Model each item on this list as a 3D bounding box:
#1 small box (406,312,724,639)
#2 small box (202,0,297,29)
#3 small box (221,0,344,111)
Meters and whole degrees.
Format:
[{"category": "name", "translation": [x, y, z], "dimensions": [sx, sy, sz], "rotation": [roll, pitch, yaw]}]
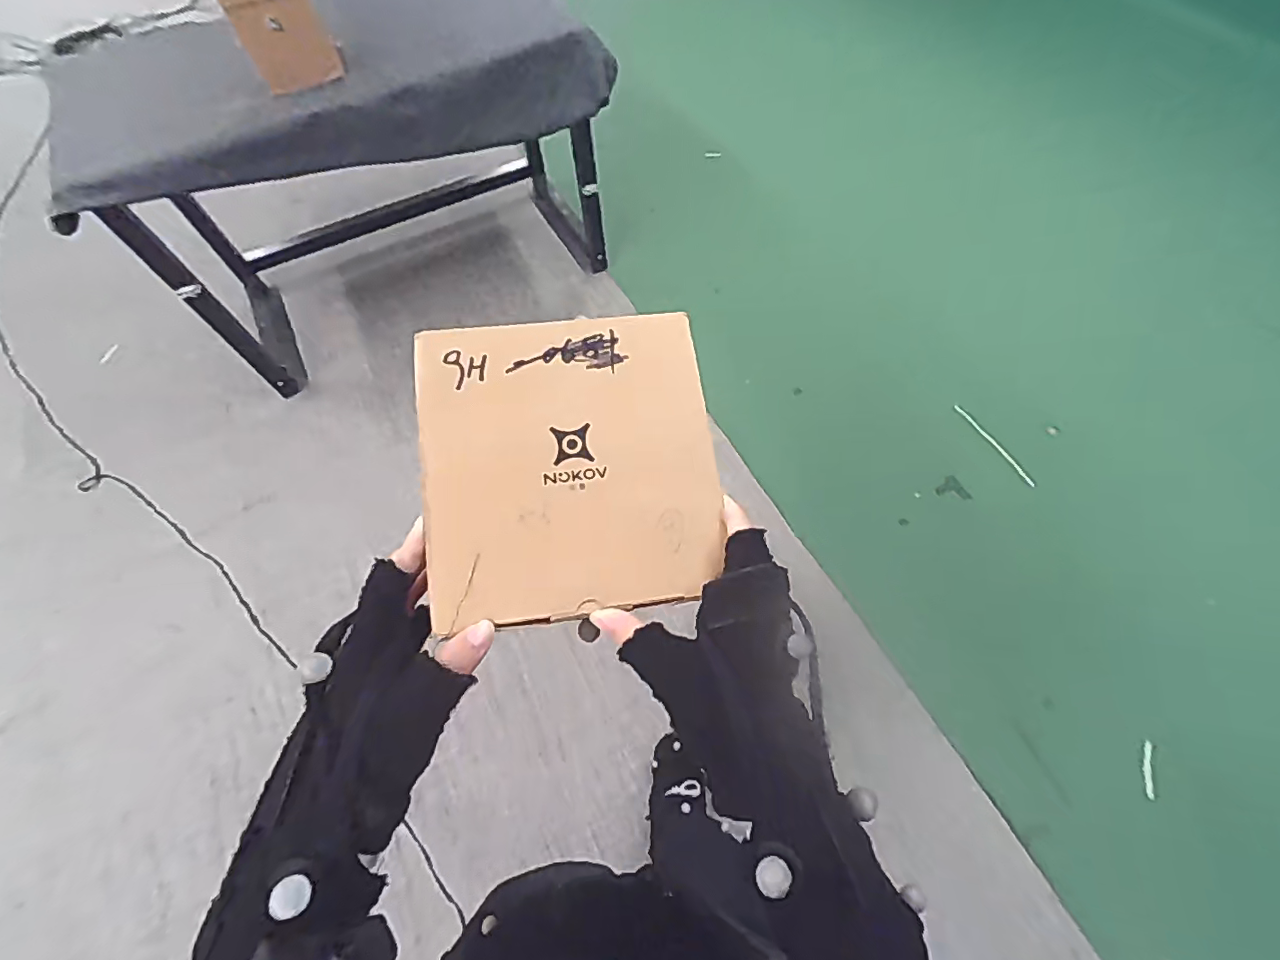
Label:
[{"category": "small box", "translation": [-0.052, 0.006, 0.387], "dimensions": [0.168, 0.176, 0.179], "rotation": [-8, 78, -8]}, {"category": "small box", "translation": [-0.818, -1.053, 1.082], "dimensions": [0.179, 0.176, 0.168], "rotation": [-25, 63, -8]}, {"category": "small box", "translation": [-0.812, -0.978, 1.228], "dimensions": [0.179, 0.176, 0.168], "rotation": [-25, 63, -11]}]
